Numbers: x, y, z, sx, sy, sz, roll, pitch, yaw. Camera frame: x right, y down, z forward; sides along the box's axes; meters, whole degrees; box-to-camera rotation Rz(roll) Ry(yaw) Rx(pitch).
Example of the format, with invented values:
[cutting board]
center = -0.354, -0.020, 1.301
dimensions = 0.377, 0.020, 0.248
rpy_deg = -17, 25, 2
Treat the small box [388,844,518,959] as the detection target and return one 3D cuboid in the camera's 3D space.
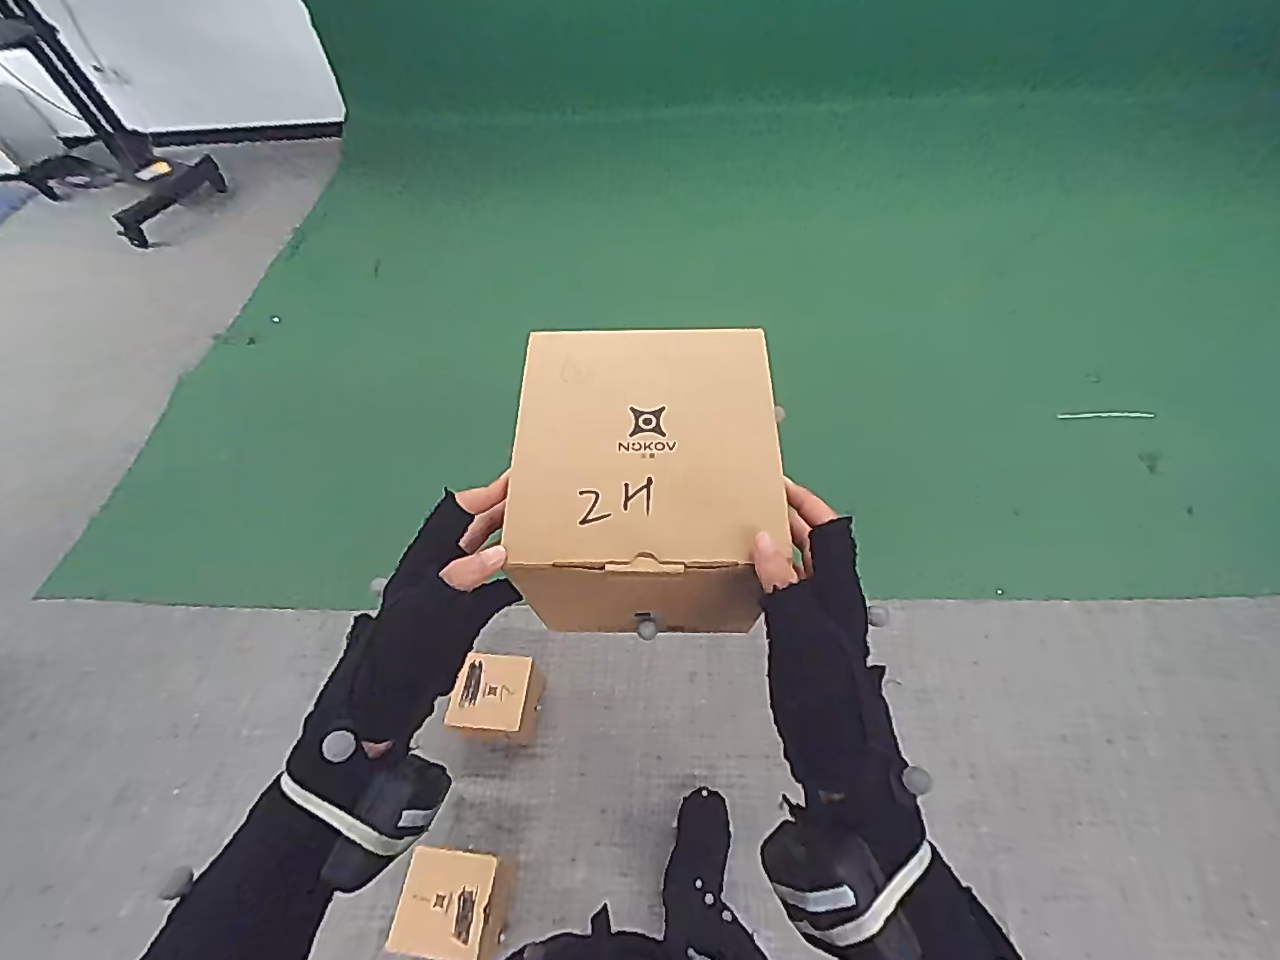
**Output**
[small box]
center = -0.362, 0.844, 1.089
dimensions = 0.179, 0.176, 0.168
rpy_deg = 4, 55, 7
